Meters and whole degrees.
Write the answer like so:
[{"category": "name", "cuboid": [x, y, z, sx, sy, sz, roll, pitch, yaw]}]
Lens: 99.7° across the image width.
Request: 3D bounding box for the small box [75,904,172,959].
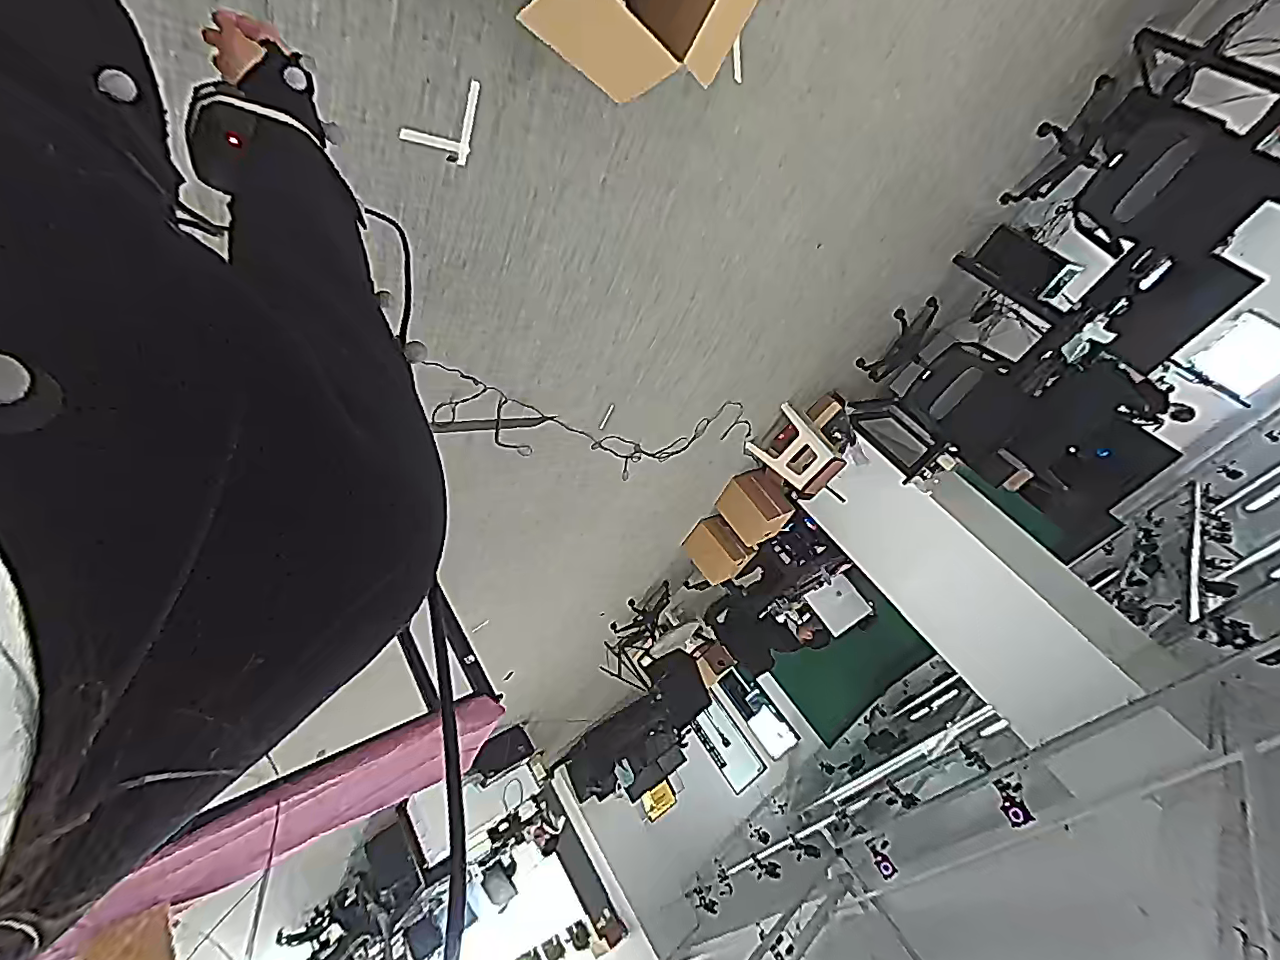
[{"category": "small box", "cuboid": [-1.388, 1.304, 1.457, 0.179, 0.176, 0.168, -11, 142, -44]}]
